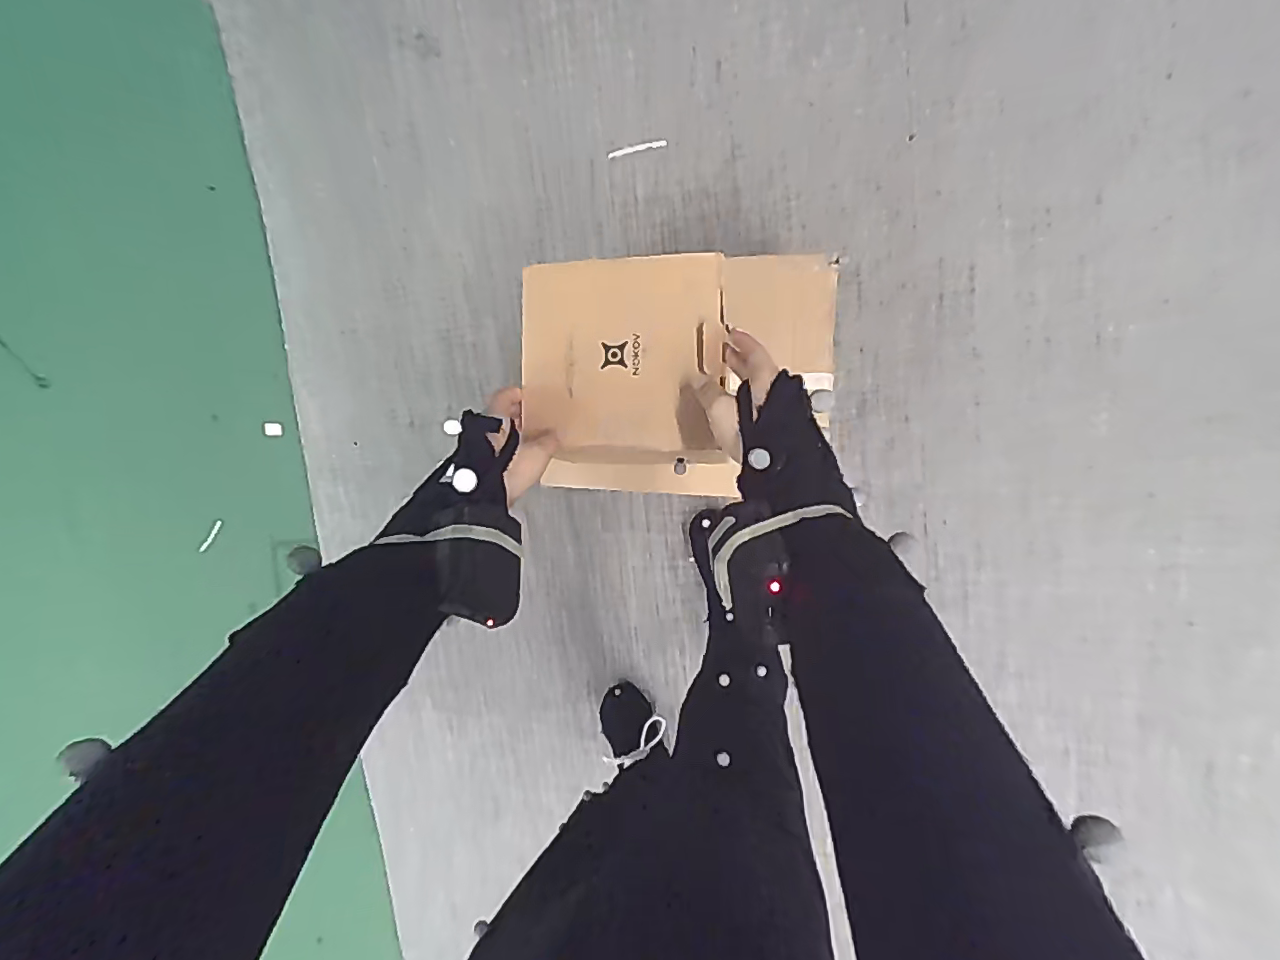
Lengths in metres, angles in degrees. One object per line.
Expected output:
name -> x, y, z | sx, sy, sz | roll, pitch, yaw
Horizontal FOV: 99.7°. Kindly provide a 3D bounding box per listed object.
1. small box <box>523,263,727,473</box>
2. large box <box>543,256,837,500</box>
small box -> -0.002, -0.095, 0.537 | 0.179, 0.176, 0.168 | -1, 87, 11
large box -> 0.082, -0.151, 0.874 | 0.408, 0.320, 0.320 | 2, 100, 13
